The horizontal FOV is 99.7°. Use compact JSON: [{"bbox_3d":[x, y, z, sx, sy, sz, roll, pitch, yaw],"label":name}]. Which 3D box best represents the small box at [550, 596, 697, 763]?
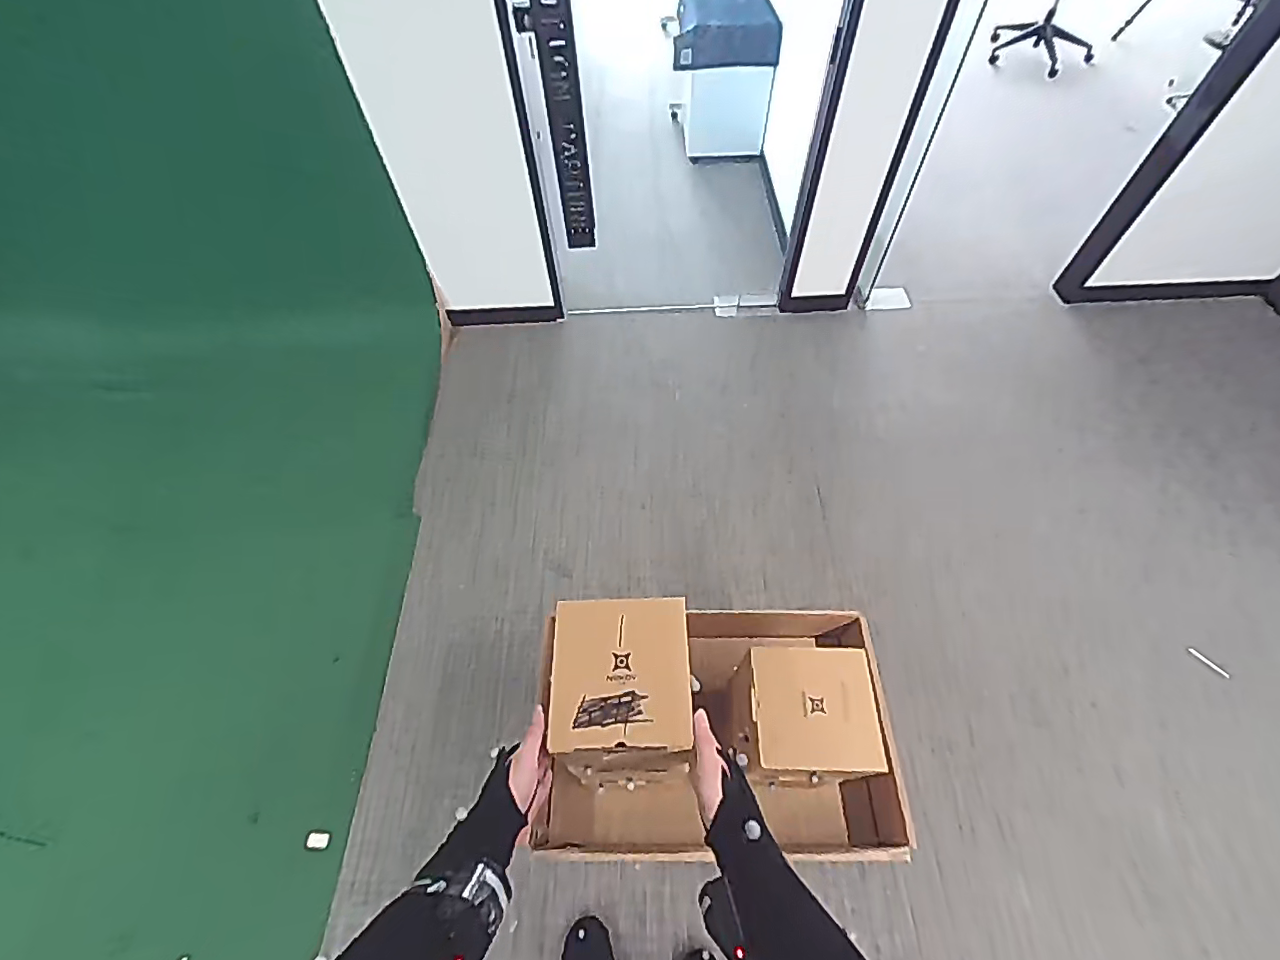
[{"bbox_3d":[-0.016,0.264,0.701,0.168,0.176,0.179,-1,56,0],"label":"small box"}]

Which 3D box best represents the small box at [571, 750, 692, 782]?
[{"bbox_3d":[-0.010,0.359,0.835,0.168,0.176,0.179,0,57,1],"label":"small box"}]

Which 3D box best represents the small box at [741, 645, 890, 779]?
[{"bbox_3d":[0.253,0.361,0.833,0.179,0.176,0.168,2,59,1],"label":"small box"}]
